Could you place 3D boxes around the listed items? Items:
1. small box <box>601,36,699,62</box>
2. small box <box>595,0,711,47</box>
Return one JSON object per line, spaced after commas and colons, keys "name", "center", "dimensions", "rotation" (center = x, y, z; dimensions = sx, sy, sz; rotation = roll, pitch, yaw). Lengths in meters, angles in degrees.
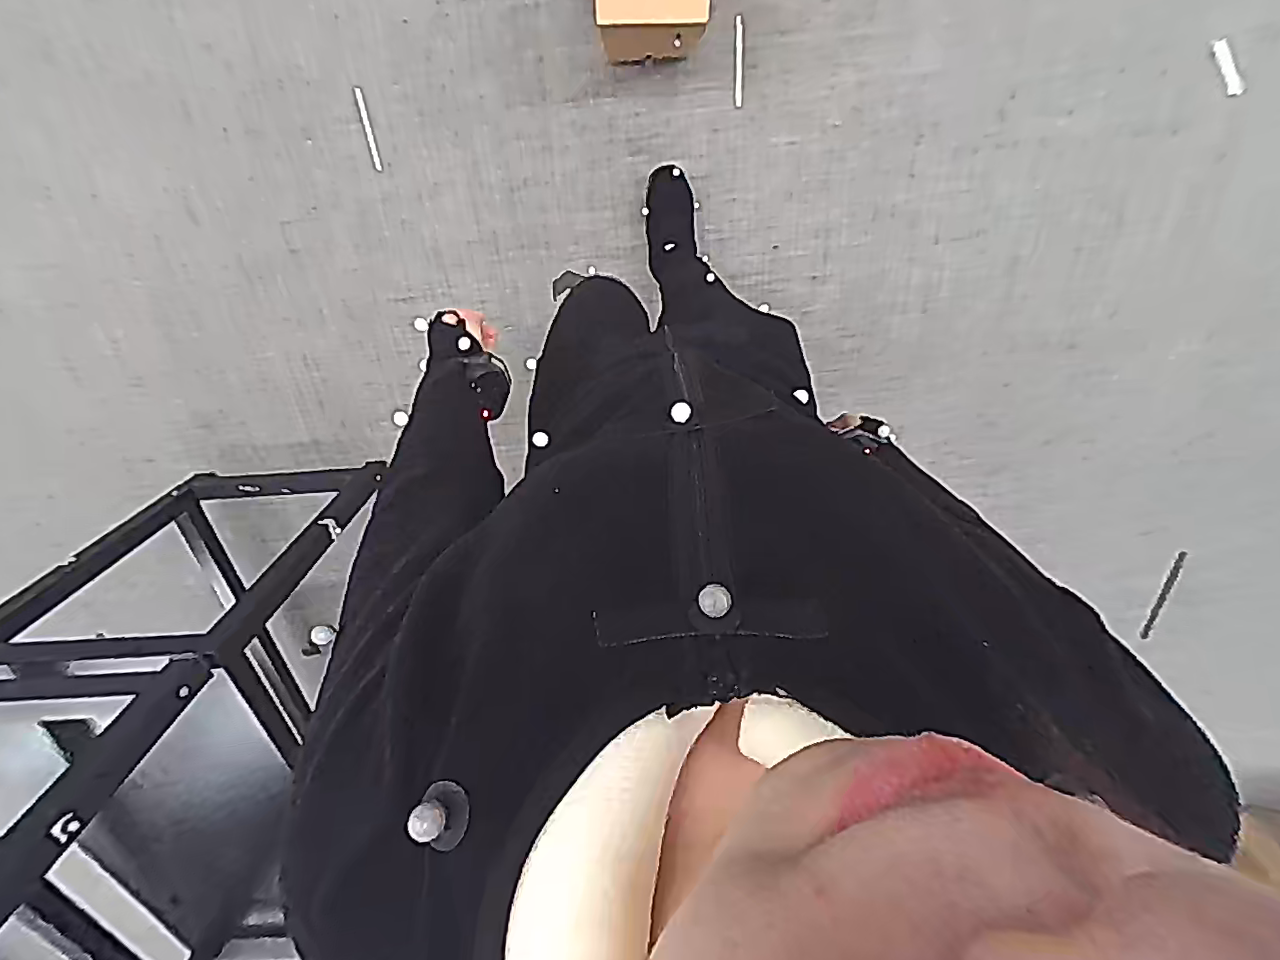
{"name": "small box", "center": [0.011, -0.886, 0.990], "dimensions": [0.179, 0.176, 0.168], "rotation": [-4, 120, 0]}
{"name": "small box", "center": [0.018, -0.802, 0.849], "dimensions": [0.179, 0.176, 0.168], "rotation": [0, 120, 0]}
